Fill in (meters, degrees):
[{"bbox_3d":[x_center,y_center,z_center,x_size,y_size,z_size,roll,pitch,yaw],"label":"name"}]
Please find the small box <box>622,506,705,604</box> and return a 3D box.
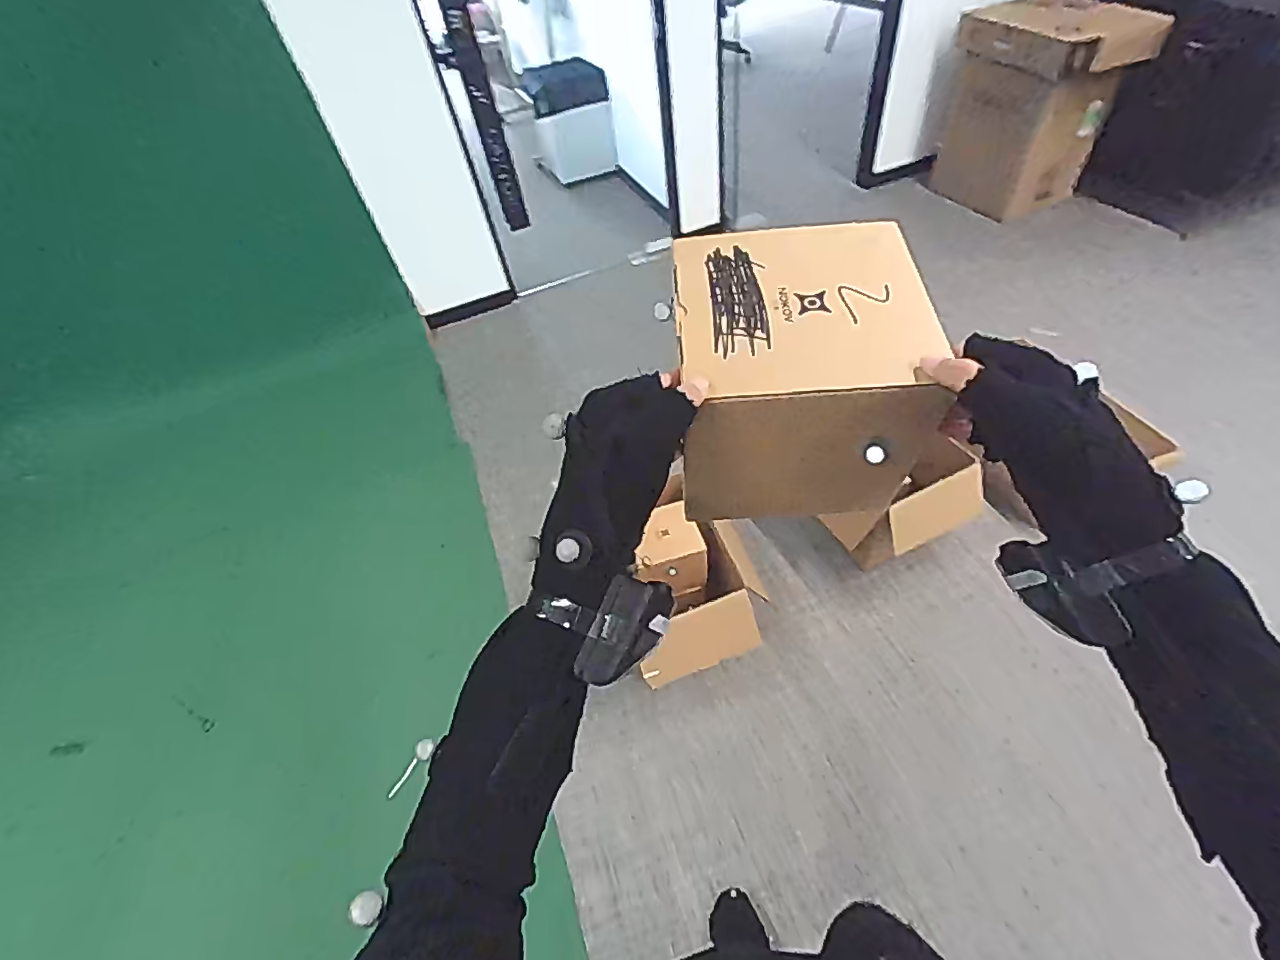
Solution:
[{"bbox_3d":[0.062,0.200,1.421,0.179,0.176,0.168,-16,48,-6],"label":"small box"}]
